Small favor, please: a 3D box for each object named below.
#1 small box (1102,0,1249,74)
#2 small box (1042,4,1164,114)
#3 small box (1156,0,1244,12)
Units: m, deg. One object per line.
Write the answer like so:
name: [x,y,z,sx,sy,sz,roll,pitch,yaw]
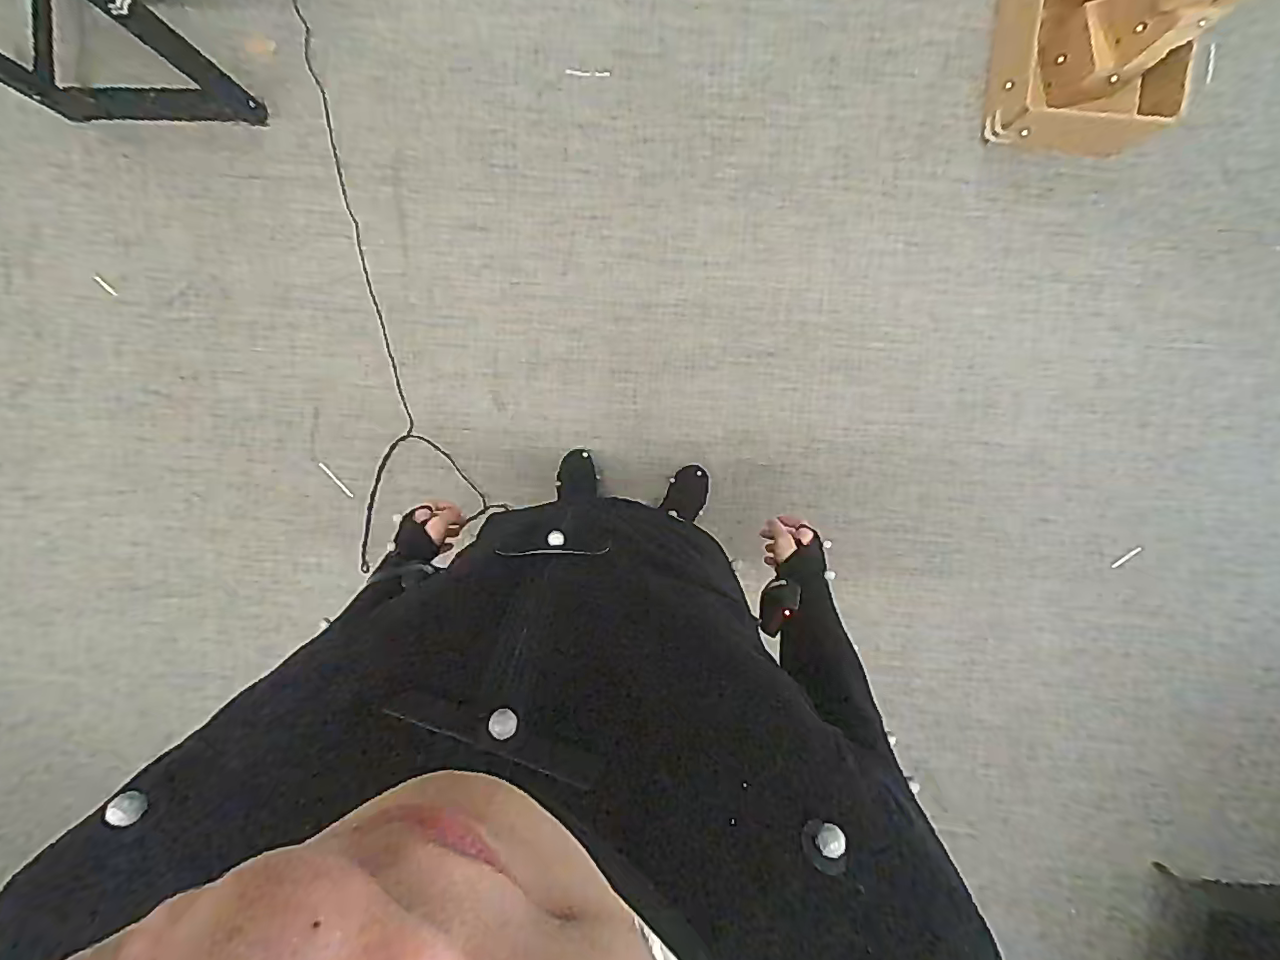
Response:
small box: [1.211,-1.083,1.234,0.179,0.176,0.168,-22,93,2]
small box: [1.183,-1.087,1.398,0.179,0.176,0.168,-11,93,1]
small box: [1.181,-1.075,1.072,0.168,0.176,0.179,-3,95,1]
